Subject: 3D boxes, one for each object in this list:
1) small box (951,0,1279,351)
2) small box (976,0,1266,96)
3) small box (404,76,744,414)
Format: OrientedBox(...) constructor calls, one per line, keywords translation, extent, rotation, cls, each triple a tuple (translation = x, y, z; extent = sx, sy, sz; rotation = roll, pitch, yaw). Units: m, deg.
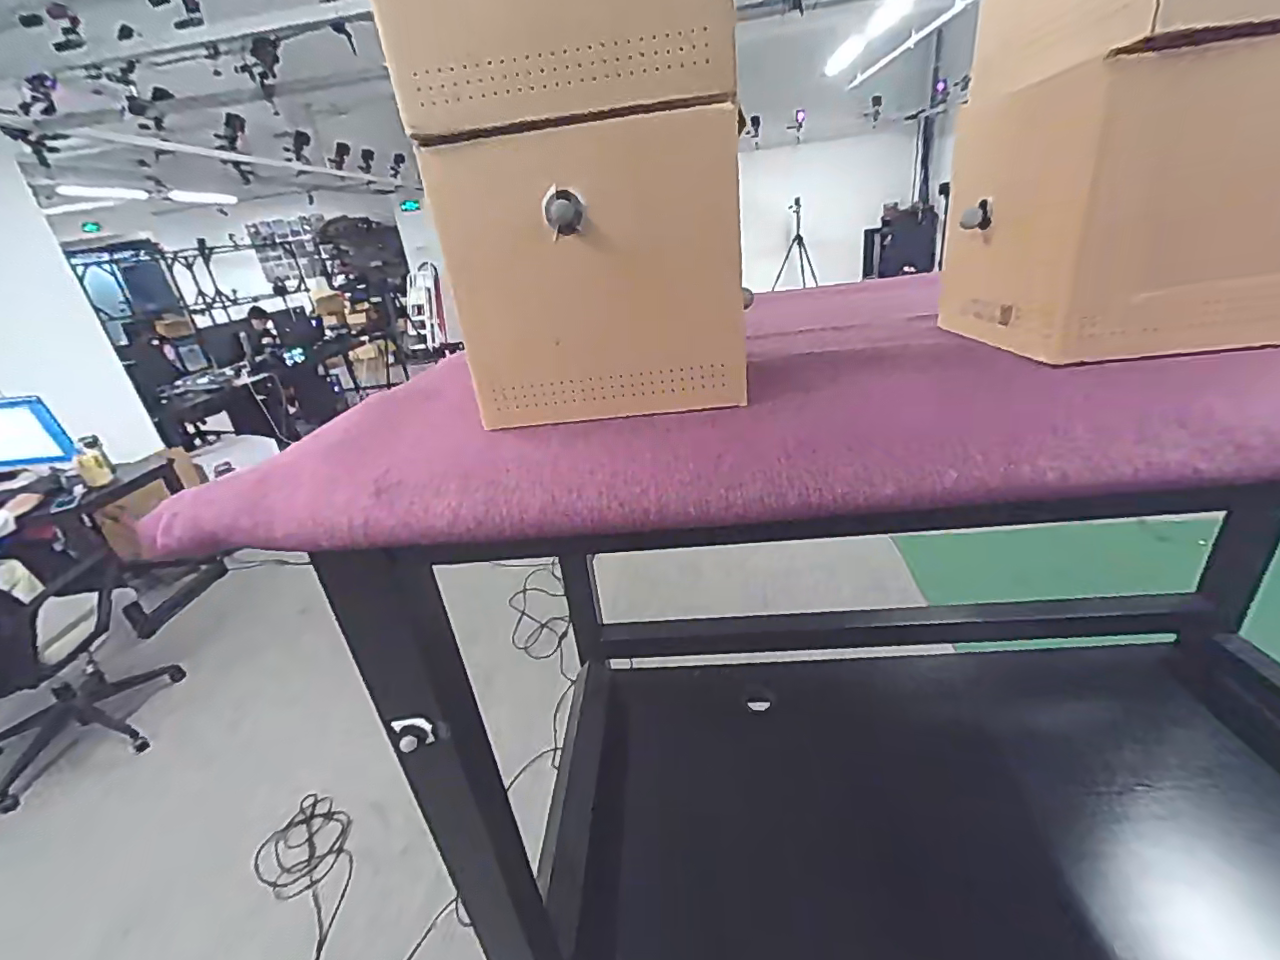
OrientedBox(translation=(0.335, -0.188, 0.365), extent=(0.179, 0.176, 0.168), rotation=(-5, 24, 5), cls="small box")
OrientedBox(translation=(0.322, -0.335, 0.298), extent=(0.168, 0.176, 0.179), rotation=(-4, 23, 3), cls="small box")
OrientedBox(translation=(-0.026, -0.151, 0.380), extent=(0.179, 0.176, 0.168), rotation=(-5, 26, 5), cls="small box")
